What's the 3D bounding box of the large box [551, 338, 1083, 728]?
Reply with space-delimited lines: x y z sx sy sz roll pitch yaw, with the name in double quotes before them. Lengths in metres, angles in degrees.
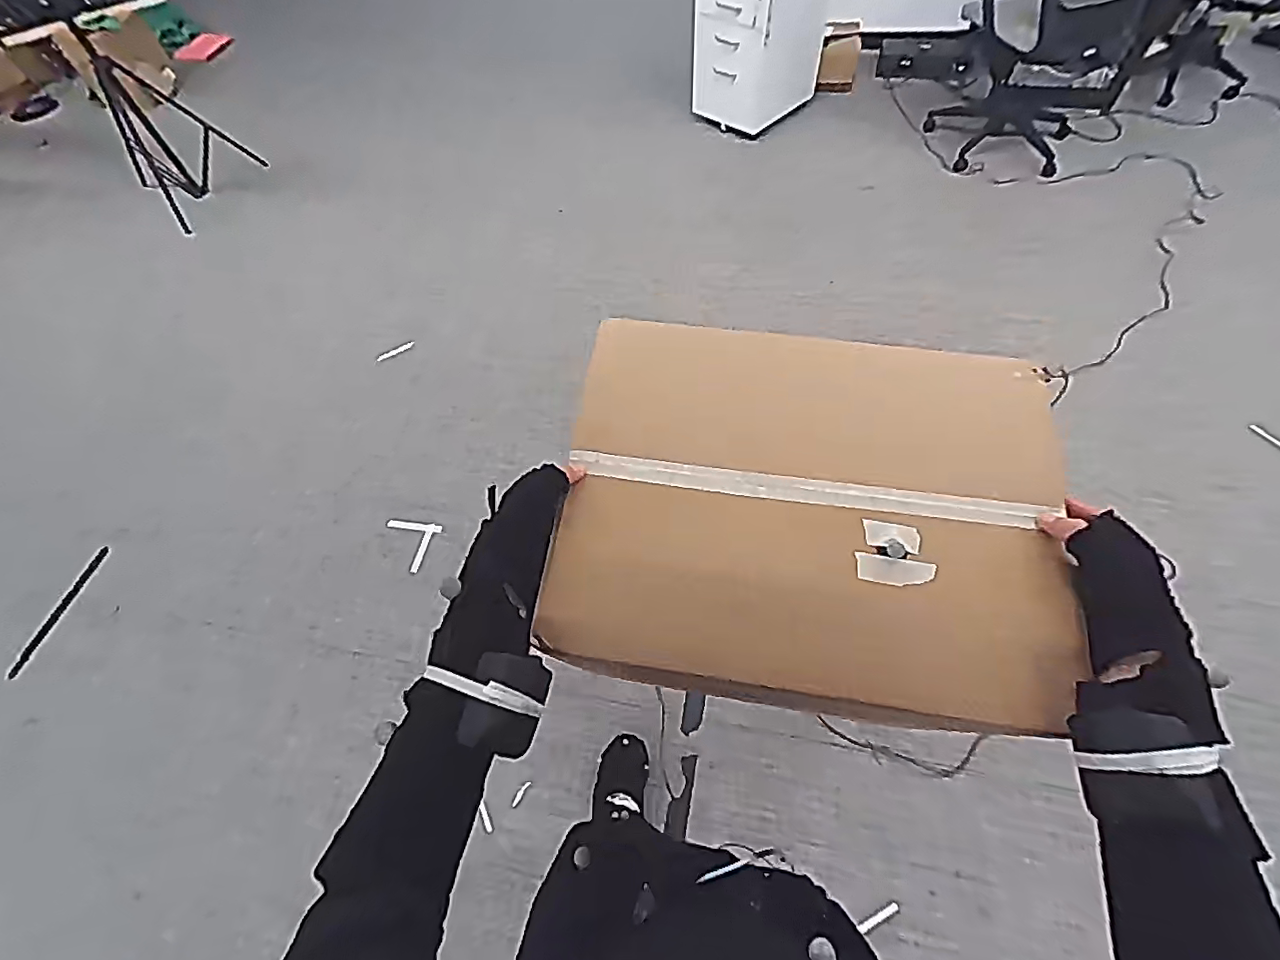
"large box" 0.148 0.077 0.598 0.408 0.320 0.320 7 68 5
